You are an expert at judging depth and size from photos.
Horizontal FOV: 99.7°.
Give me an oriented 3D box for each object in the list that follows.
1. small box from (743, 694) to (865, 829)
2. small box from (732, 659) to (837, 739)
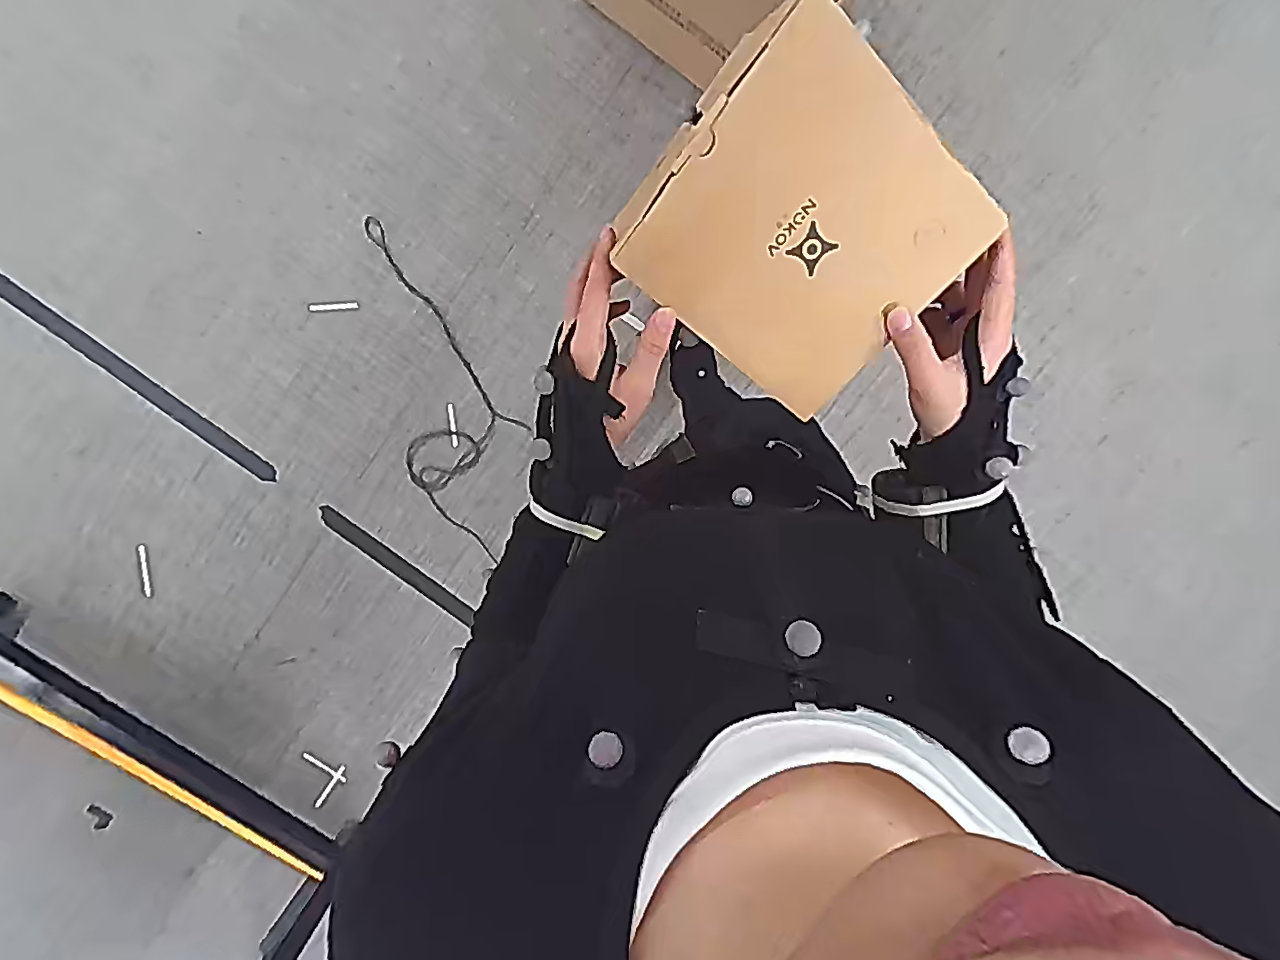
[{"bbox_3d":[0.355,0.615,1.206,0.179,0.176,0.168,35,96,-4],"label":"small box"},{"bbox_3d":[0.357,0.590,1.369,0.179,0.176,0.168,36,97,-4],"label":"small box"}]
